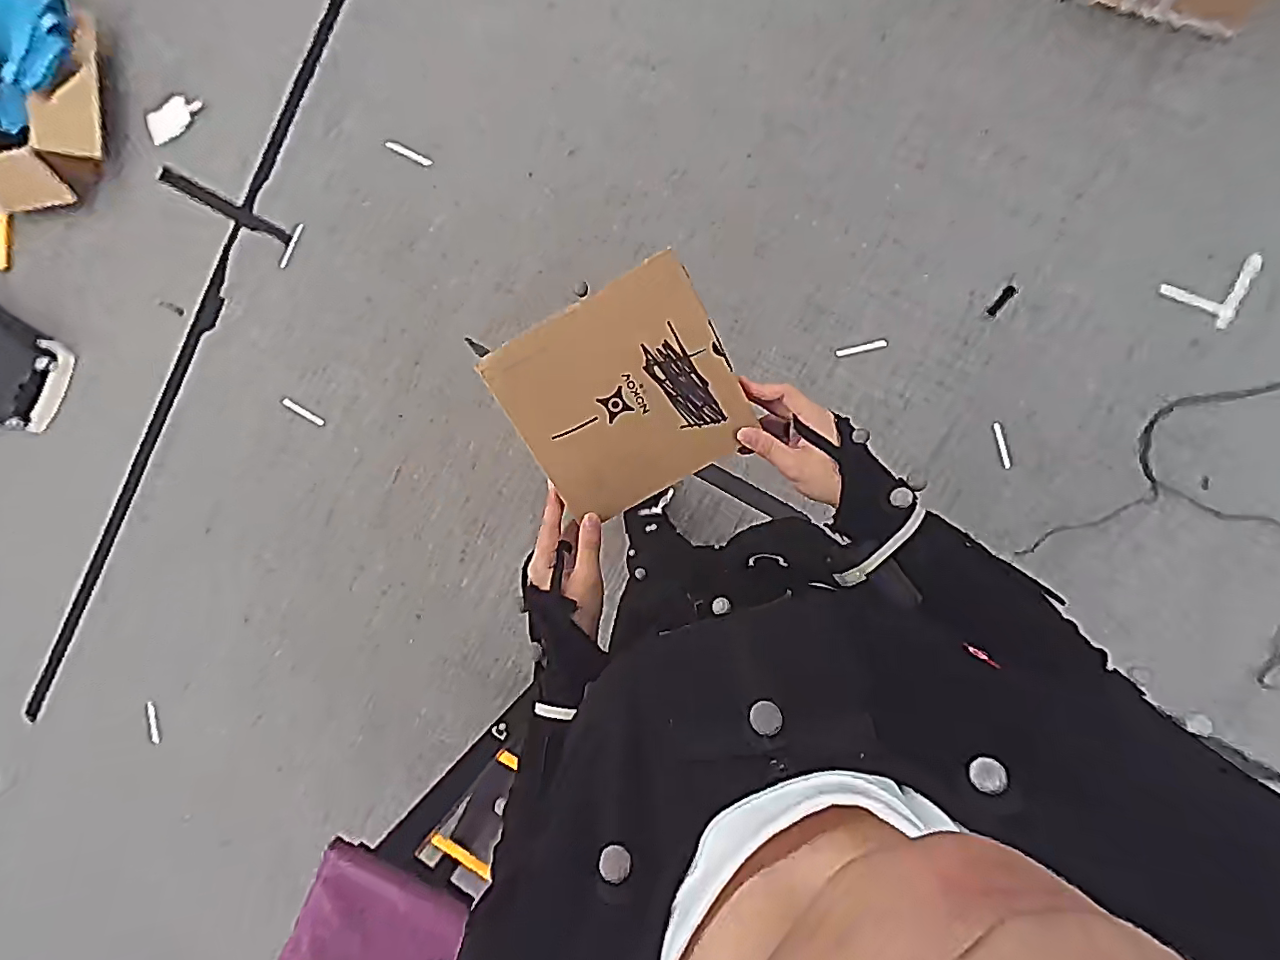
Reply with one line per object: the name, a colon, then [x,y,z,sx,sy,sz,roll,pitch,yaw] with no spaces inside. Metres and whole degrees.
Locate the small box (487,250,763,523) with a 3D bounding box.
small box: [-0.015,-0.093,0.509,0.179,0.176,0.168,-28,108,5]
